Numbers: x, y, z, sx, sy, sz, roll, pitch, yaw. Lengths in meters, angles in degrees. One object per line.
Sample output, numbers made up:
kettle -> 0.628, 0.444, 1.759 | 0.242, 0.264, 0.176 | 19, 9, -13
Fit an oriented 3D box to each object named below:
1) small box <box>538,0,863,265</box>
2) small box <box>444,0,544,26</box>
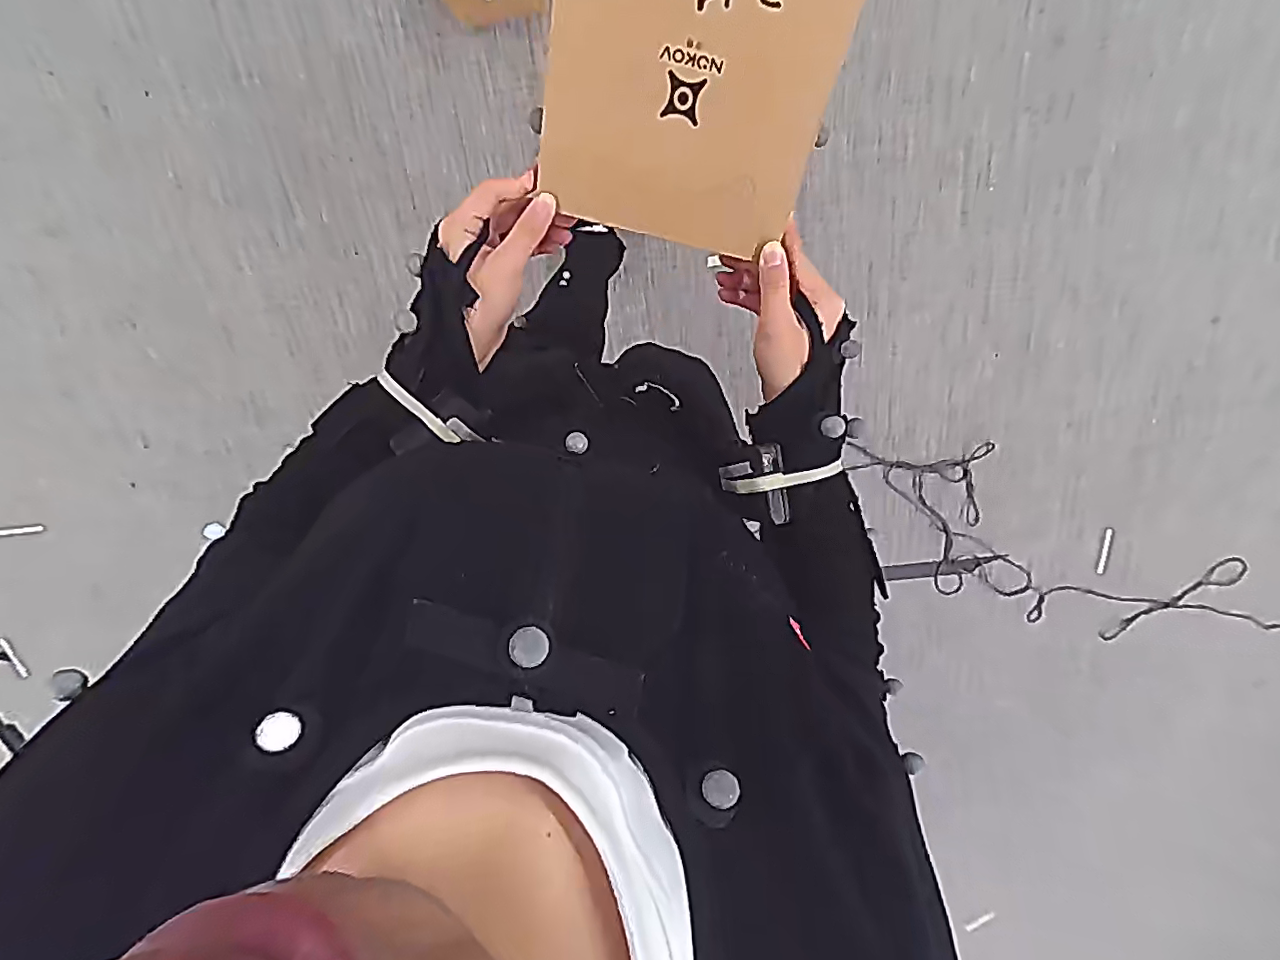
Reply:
small box -> 0.035, -0.280, 0.382 | 0.168, 0.176, 0.179 | 13, 126, -4
small box -> -0.269, -0.937, 0.946 | 0.179, 0.176, 0.168 | -8, 112, 2
